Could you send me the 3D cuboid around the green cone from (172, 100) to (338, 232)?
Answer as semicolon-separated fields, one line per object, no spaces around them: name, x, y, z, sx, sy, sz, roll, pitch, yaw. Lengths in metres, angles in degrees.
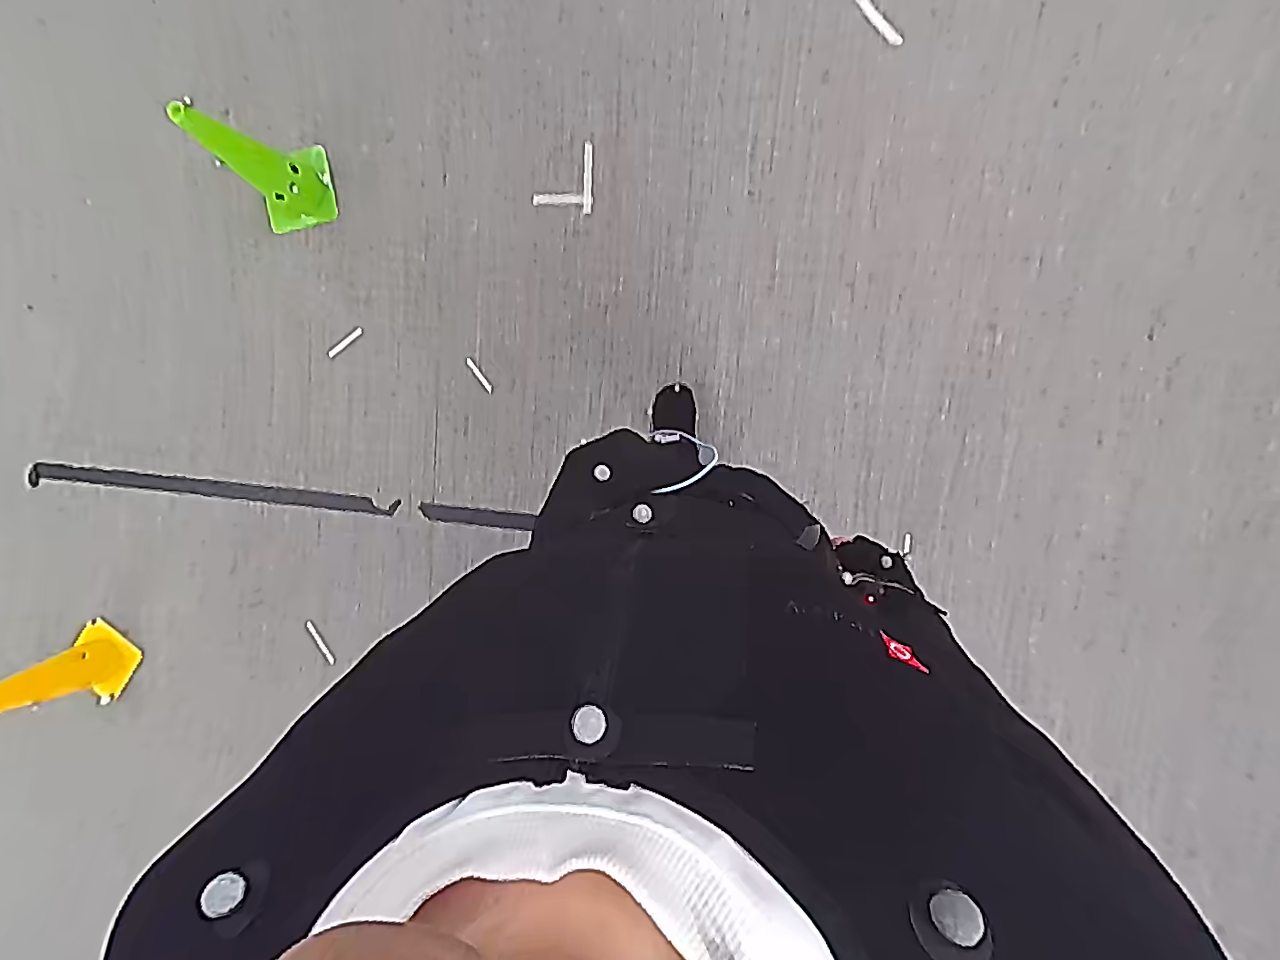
green cone;-0.949;-0.781;1.306;0.202;0.368;0.200;-11;93;6

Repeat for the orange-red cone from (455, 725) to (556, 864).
orange-red cone;-0.363;0.803;1.336;0.199;0.360;0.198;12;94;7
